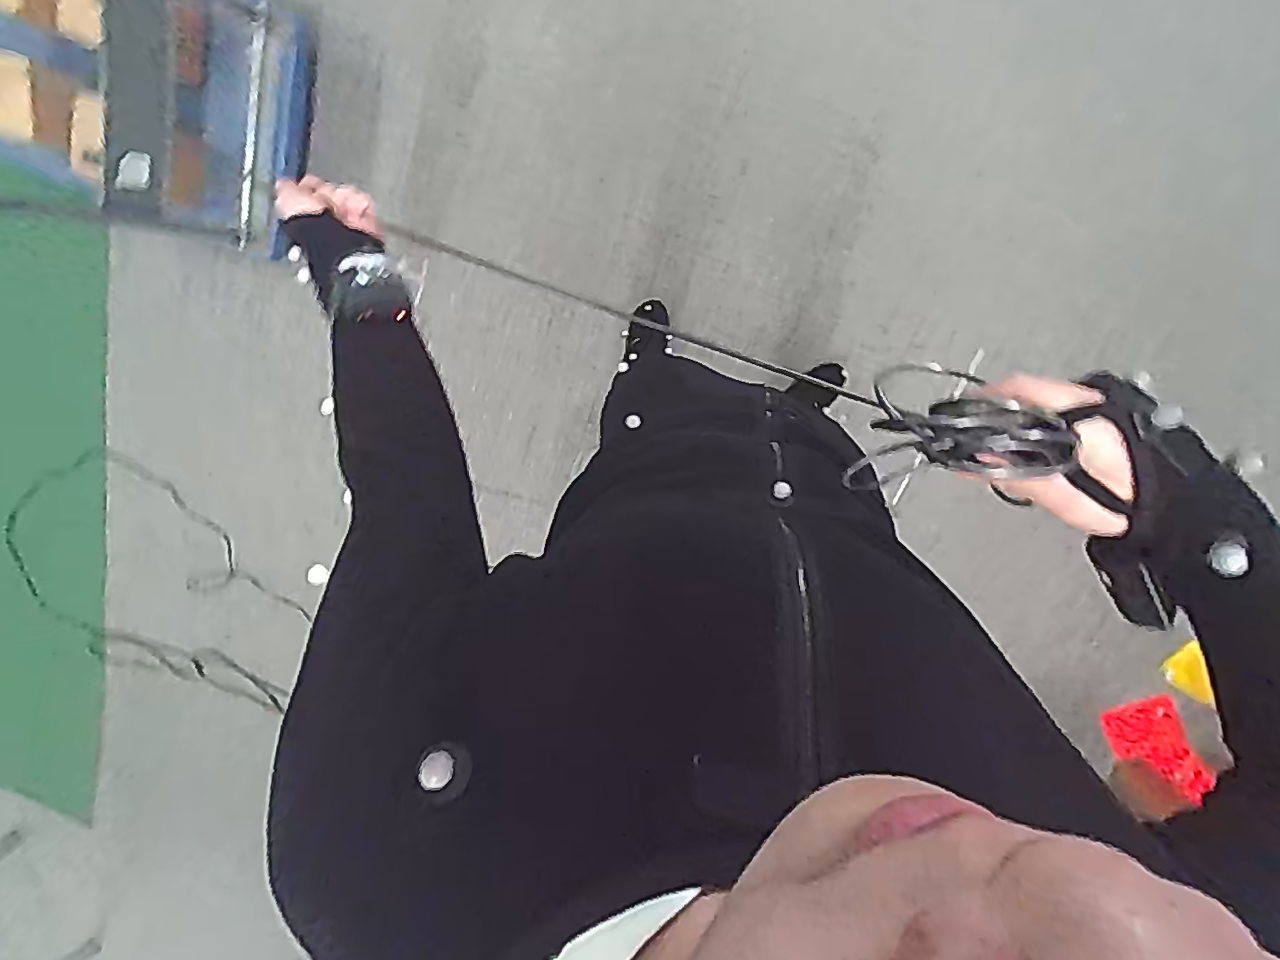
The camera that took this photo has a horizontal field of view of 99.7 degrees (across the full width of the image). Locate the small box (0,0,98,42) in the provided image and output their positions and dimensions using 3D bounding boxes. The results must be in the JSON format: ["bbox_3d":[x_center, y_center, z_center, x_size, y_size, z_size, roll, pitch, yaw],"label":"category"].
[{"bbox_3d":[-1.370,-1.139,1.224,0.179,0.176,0.168,18,110,1],"label":"small box"}]

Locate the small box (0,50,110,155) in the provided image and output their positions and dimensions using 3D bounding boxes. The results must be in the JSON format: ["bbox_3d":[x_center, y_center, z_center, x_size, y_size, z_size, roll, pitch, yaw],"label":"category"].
[{"bbox_3d":[-1.440,-0.912,1.308,0.179,0.176,0.168,18,109,2],"label":"small box"}]

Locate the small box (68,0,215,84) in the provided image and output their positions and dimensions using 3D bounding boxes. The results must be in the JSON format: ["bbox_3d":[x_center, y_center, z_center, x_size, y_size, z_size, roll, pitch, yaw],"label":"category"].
[{"bbox_3d":[-1.119,-1.038,1.221,0.179,0.176,0.168,22,109,0],"label":"small box"}]
